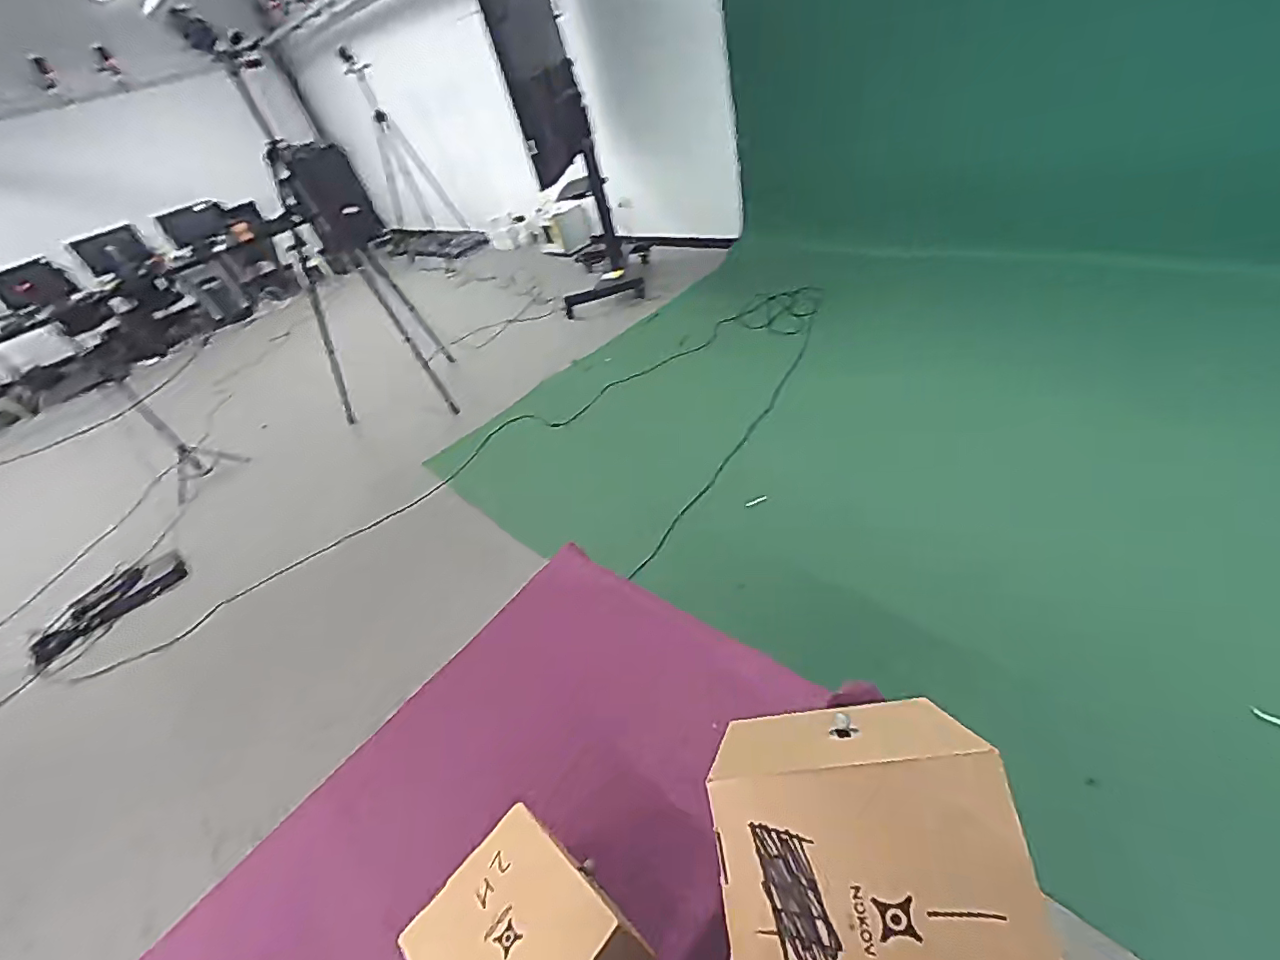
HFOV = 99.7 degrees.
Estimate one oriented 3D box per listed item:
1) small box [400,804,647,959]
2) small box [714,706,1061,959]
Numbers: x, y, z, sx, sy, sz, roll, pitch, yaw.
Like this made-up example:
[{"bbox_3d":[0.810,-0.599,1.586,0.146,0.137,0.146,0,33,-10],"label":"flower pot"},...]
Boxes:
[{"bbox_3d":[-0.116,0.507,0.589,0.179,0.176,0.168,24,53,39],"label":"small box"},{"bbox_3d":[0.161,0.271,0.390,0.179,0.176,0.168,-11,76,12],"label":"small box"}]
